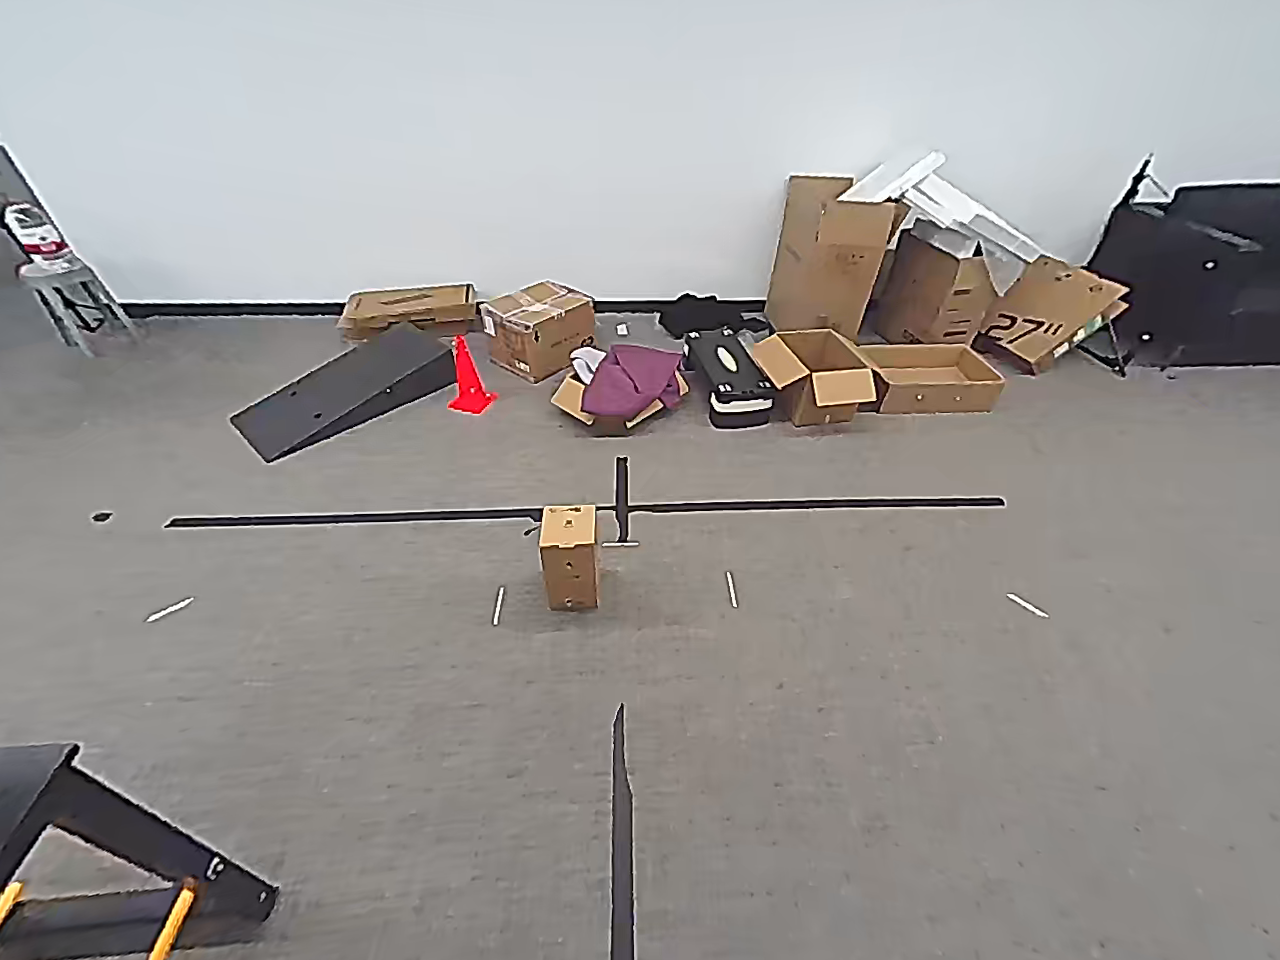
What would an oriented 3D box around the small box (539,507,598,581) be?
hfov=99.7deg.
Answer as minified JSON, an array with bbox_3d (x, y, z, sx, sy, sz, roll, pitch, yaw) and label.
[{"bbox_3d":[-0.220,0.206,1.710,0.168,0.176,0.179,-2,41,-2],"label":"small box"}]

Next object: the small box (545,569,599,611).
[{"bbox_3d":[-0.225,0.319,1.830,0.168,0.176,0.179,-3,42,-3],"label":"small box"}]
